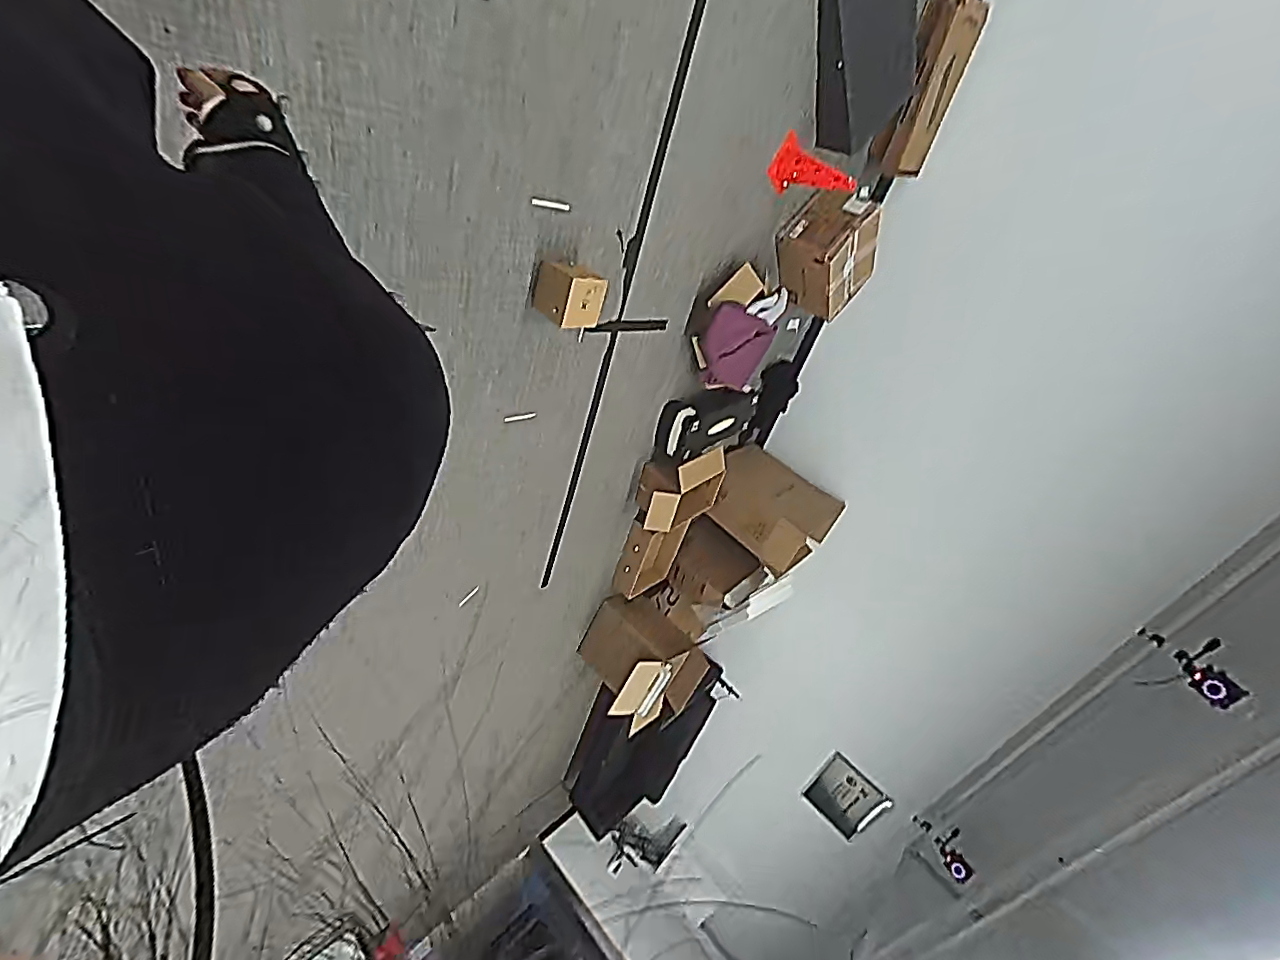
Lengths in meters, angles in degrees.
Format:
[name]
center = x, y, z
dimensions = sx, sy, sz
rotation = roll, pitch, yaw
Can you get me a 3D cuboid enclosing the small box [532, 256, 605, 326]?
[small box]
center = -0.254, -0.654, 1.879
dimensions = 0.168, 0.176, 0.179
rotation = -19, 138, -46
